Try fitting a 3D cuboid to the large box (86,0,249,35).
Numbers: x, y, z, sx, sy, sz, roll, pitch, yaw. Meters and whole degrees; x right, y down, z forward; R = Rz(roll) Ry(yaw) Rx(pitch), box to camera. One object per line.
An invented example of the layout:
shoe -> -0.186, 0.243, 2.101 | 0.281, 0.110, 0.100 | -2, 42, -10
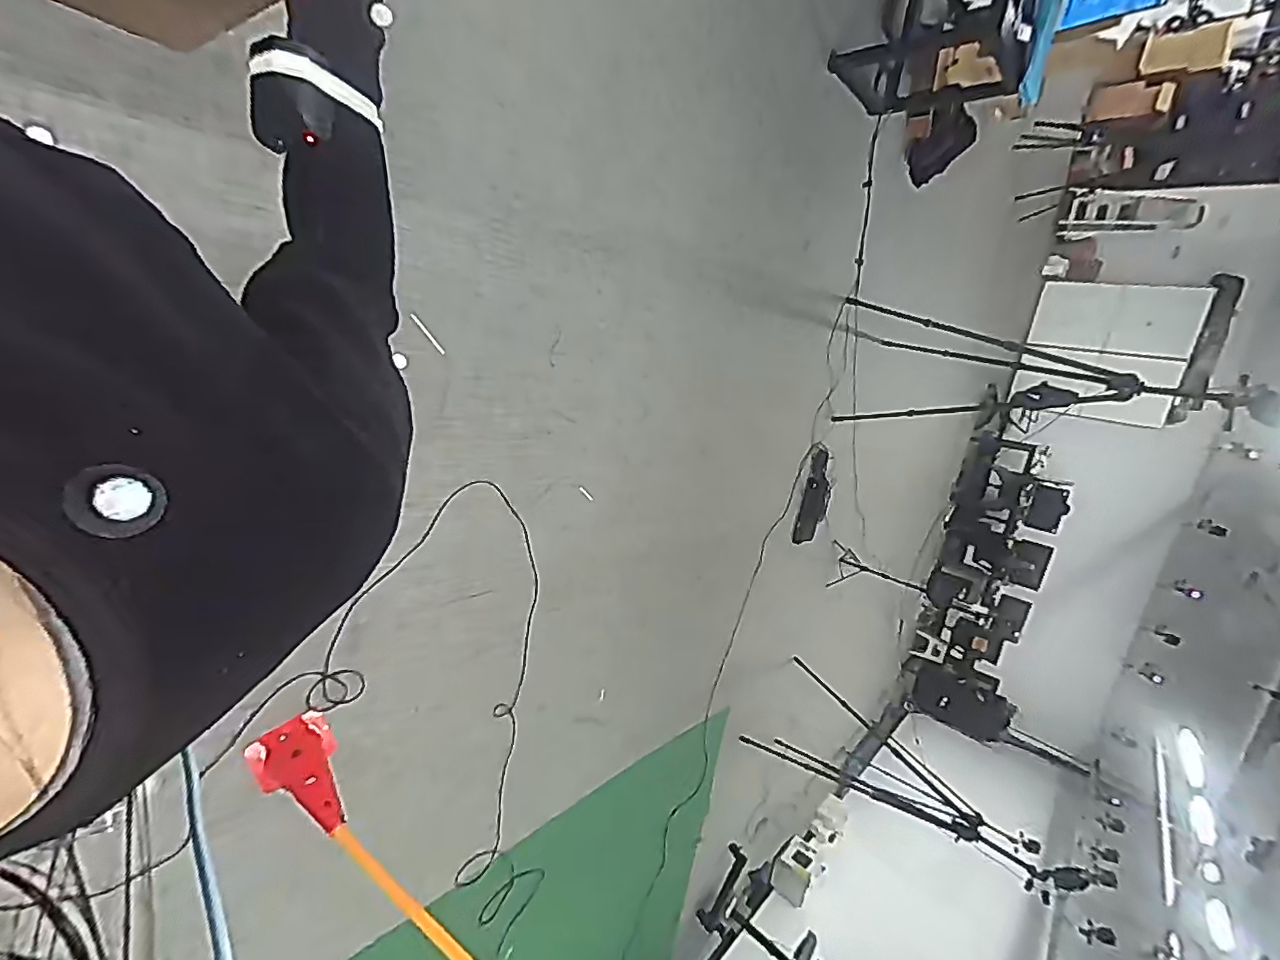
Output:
large box -> -0.457, -0.527, 0.283 | 0.408, 0.320, 0.320 | -8, 114, -49
